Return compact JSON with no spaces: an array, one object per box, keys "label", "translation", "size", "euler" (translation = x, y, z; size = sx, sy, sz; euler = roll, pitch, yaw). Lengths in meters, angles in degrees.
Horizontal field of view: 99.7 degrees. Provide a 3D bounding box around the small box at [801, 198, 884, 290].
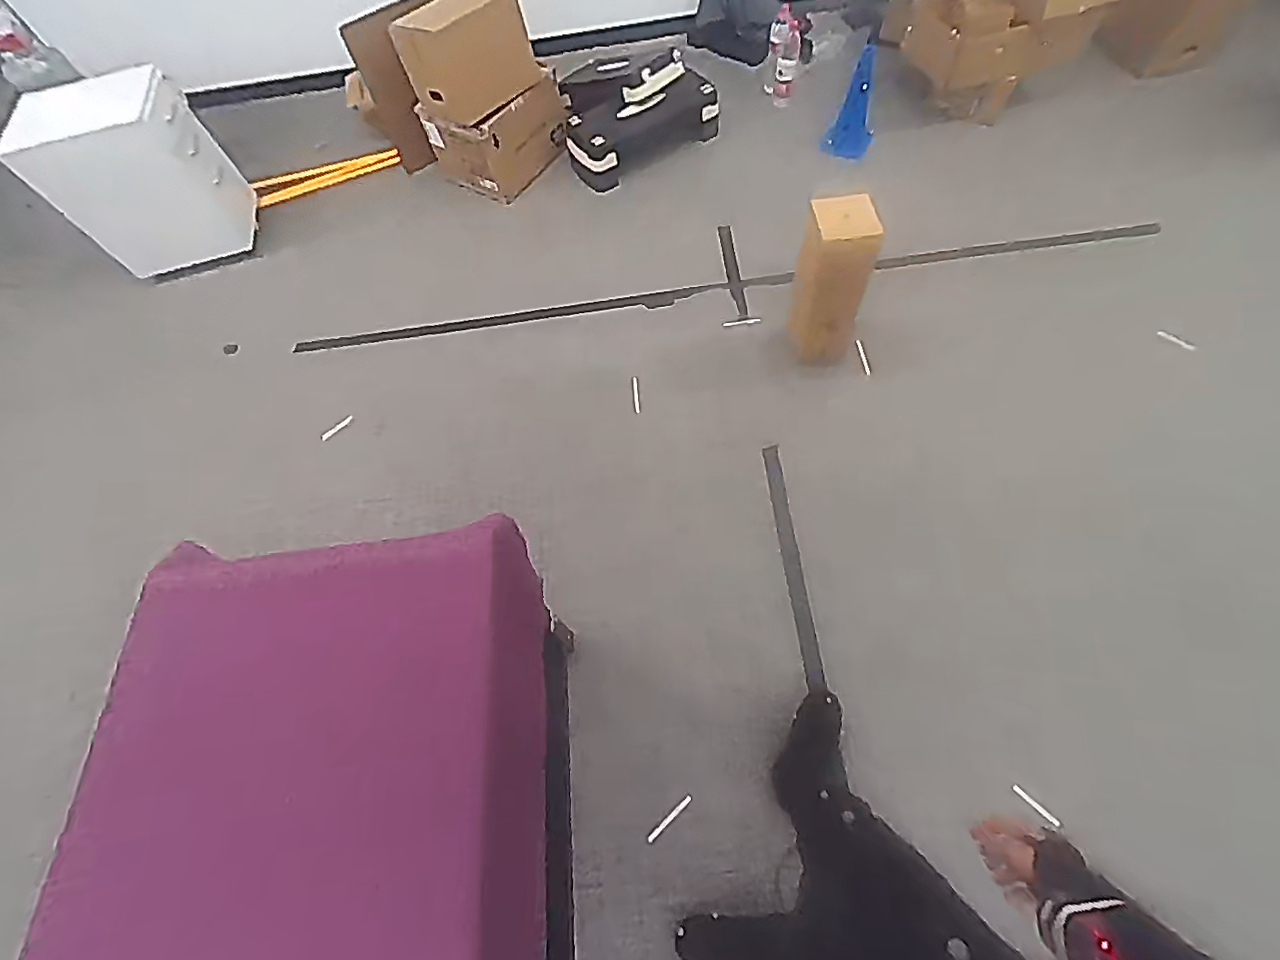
[{"label":"small box","translation":[0.578,-0.683,1.569],"size":[0.168,0.176,0.179],"euler":[-6,63,2]}]
